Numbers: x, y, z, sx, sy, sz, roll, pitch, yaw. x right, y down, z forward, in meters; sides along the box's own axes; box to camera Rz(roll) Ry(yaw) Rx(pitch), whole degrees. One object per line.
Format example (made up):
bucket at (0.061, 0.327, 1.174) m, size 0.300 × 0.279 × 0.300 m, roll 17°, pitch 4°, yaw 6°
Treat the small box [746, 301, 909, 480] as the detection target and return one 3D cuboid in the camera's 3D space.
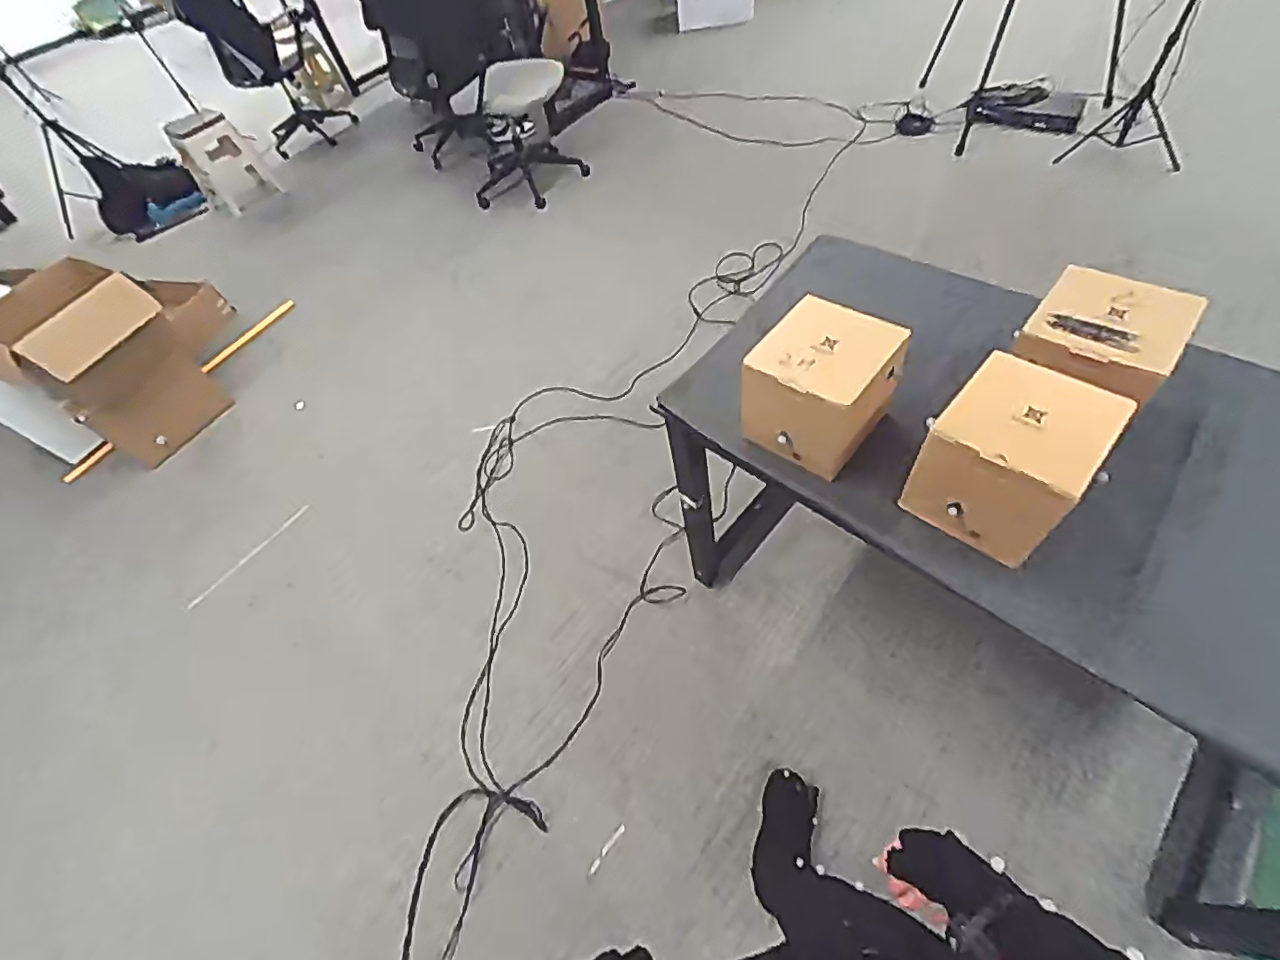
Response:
small box at (0.275, -0.136, 0.830) m, size 0.168 × 0.176 × 0.179 m, roll 32°, pitch 67°, yaw 29°
